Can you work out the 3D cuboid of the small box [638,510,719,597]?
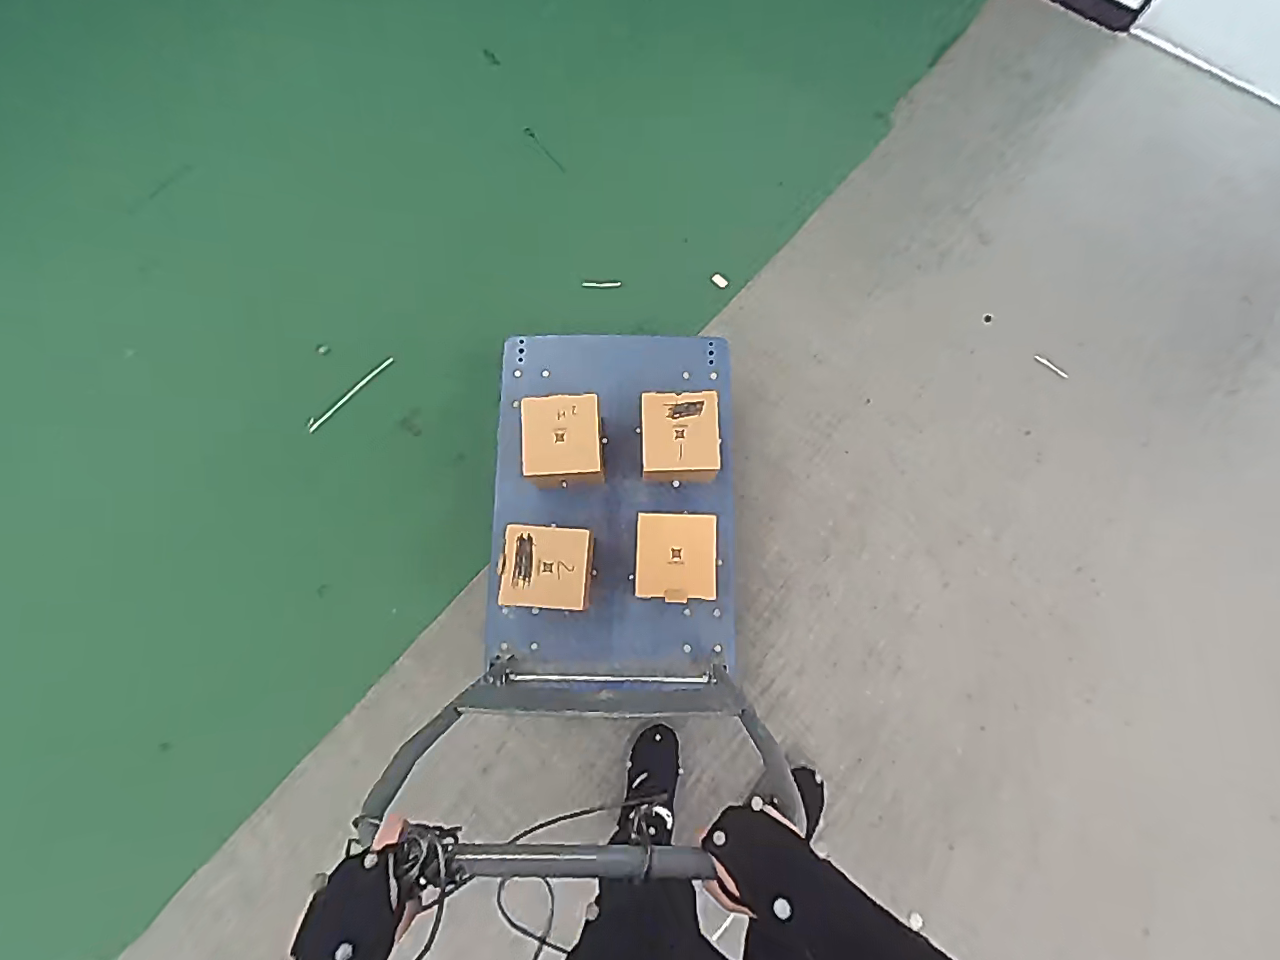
[{"bbox_3d":[0.080,0.164,1.190,0.168,0.176,0.179,1,81,1],"label":"small box"}]

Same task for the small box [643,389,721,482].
[{"bbox_3d":[0.090,-0.096,1.234,0.168,0.176,0.179,-2,81,1],"label":"small box"}]

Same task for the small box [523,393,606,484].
[{"bbox_3d":[-0.167,-0.087,1.235,0.168,0.176,0.179,-3,80,-1],"label":"small box"}]
